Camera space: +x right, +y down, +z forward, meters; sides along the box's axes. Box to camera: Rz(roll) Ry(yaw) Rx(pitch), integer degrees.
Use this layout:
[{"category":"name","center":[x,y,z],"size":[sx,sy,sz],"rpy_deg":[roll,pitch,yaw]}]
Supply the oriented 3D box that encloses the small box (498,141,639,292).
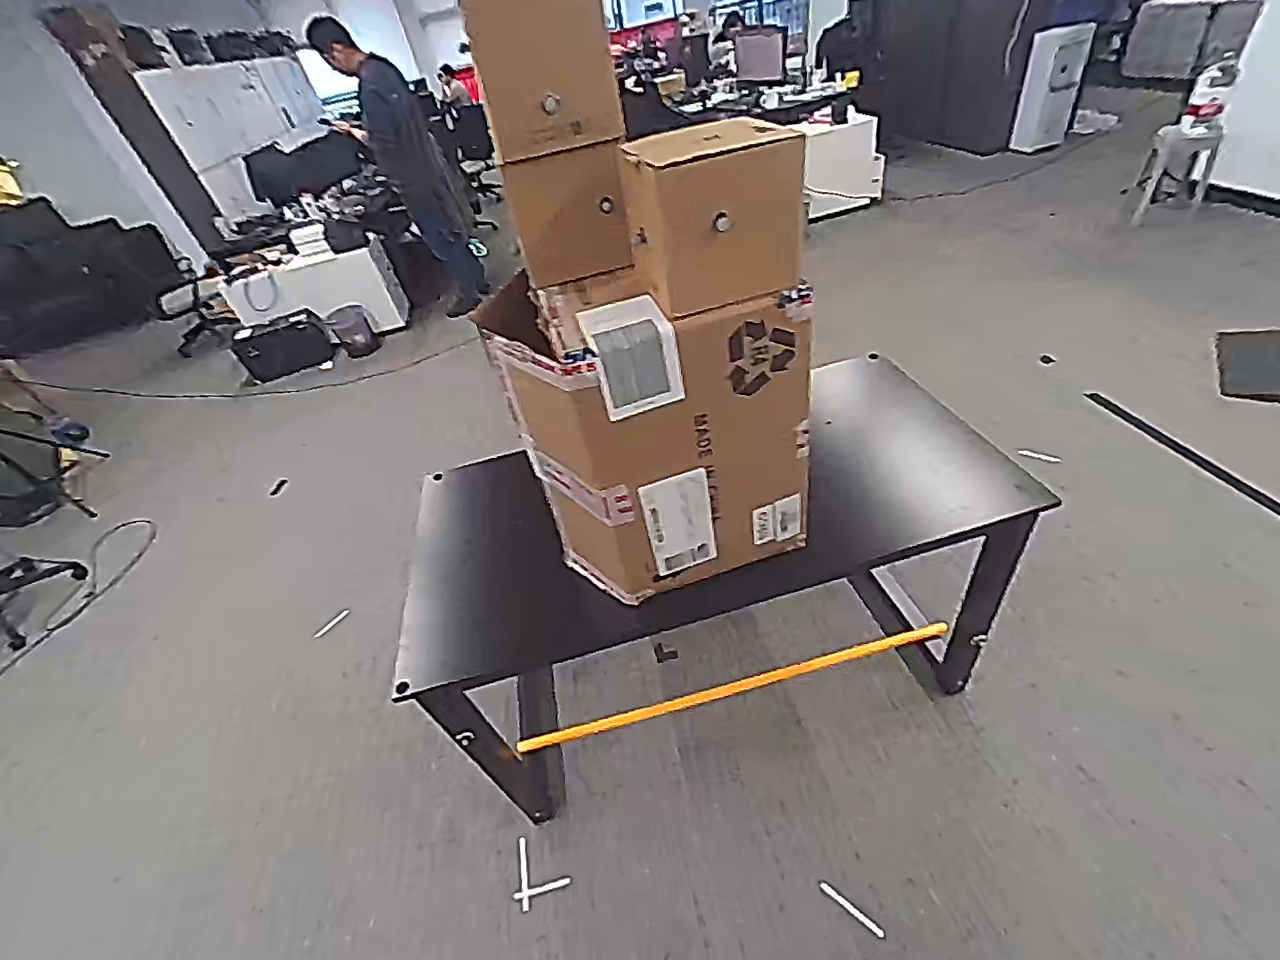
[{"category":"small box","center":[-0.104,-0.411,0.829],"size":[0.179,0.176,0.168],"rpy_deg":[-17,37,-5]}]

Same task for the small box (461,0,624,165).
[{"category":"small box","center":[-0.128,-0.535,0.723],"size":[0.168,0.176,0.179],"rpy_deg":[-16,38,-5]}]

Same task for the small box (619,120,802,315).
[{"category":"small box","center":[0.089,-0.330,0.685],"size":[0.179,0.176,0.168],"rpy_deg":[-17,43,-5]}]
